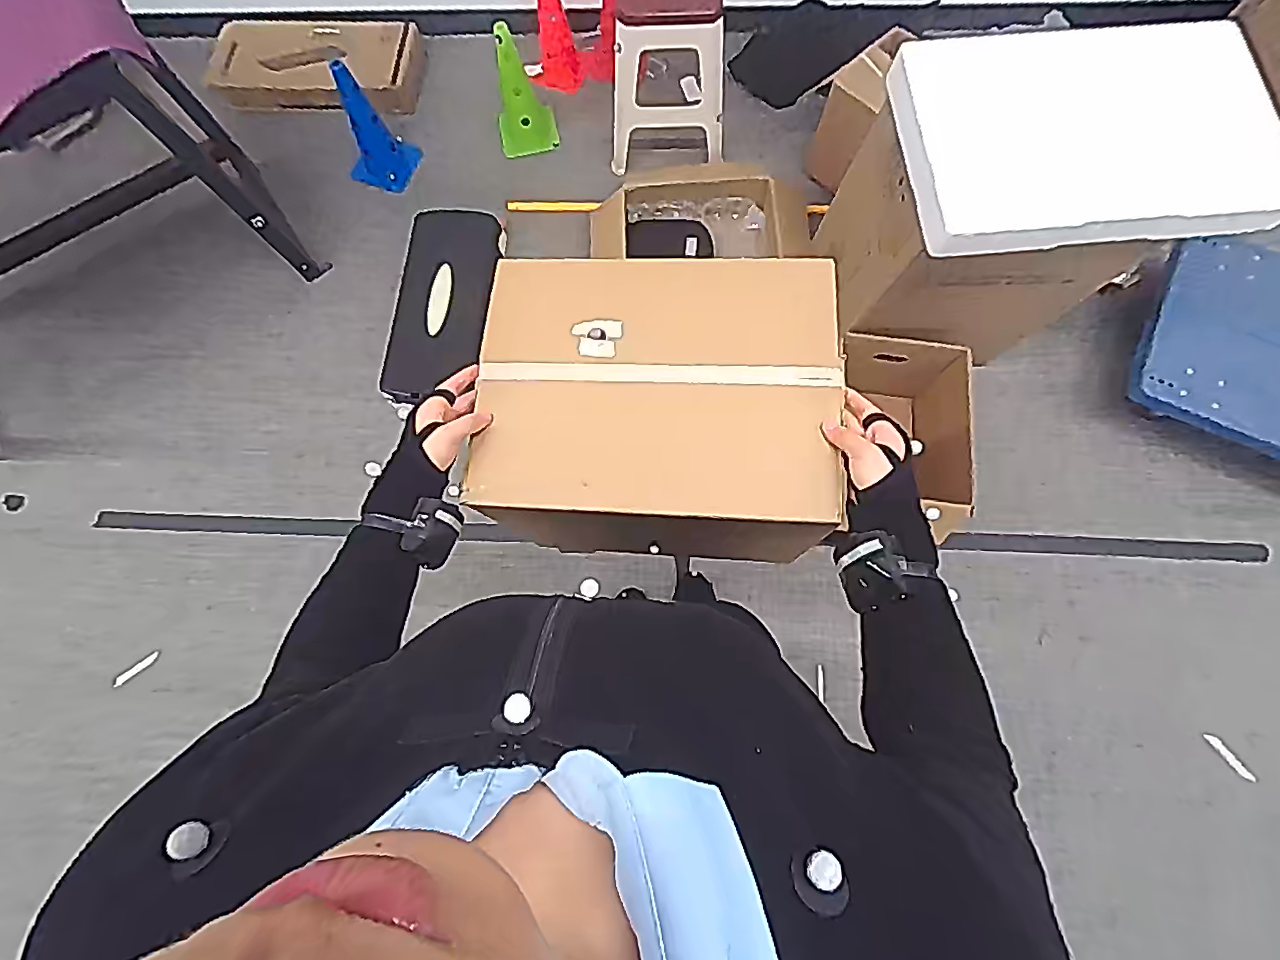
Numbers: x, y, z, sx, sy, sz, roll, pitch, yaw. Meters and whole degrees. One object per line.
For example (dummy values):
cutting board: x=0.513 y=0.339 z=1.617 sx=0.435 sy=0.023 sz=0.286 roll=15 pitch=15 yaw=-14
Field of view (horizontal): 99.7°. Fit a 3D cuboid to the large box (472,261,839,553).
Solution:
large box: x=0.032 y=-0.073 z=0.760 sx=0.408 sy=0.320 sz=0.320 roll=1 pitch=73 yaw=7
